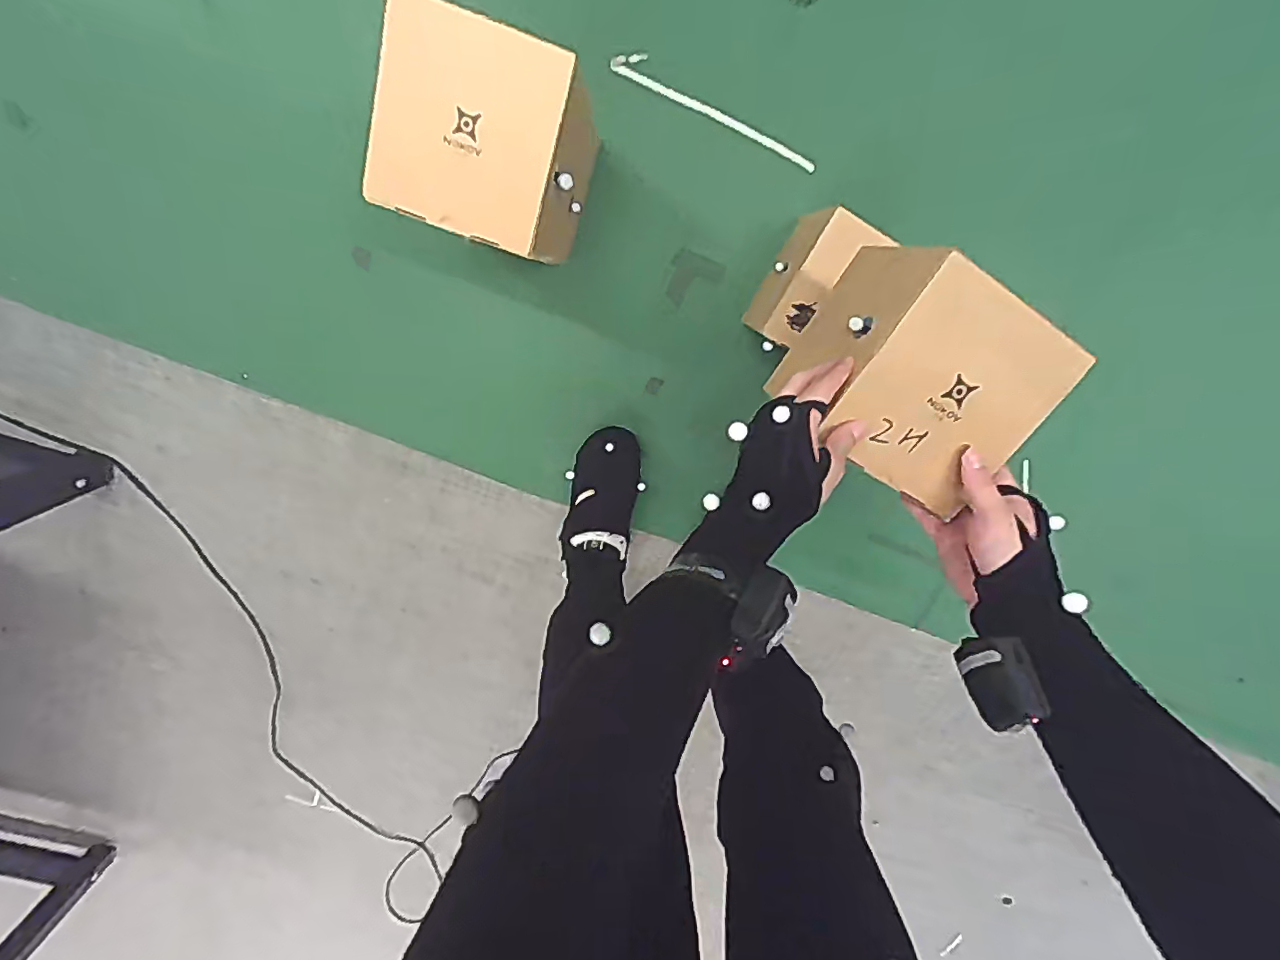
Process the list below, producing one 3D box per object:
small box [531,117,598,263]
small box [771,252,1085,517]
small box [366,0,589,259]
[{"bbox_3d":[-0.160,-0.406,0.720,0.168,0.176,0.179,19,111,-7],"label":"small box"},{"bbox_3d":[0.254,-0.102,0.527,0.168,0.176,0.179,29,111,-14],"label":"small box"},{"bbox_3d":[-0.156,-0.349,0.568,0.168,0.176,0.179,18,112,-7],"label":"small box"}]
